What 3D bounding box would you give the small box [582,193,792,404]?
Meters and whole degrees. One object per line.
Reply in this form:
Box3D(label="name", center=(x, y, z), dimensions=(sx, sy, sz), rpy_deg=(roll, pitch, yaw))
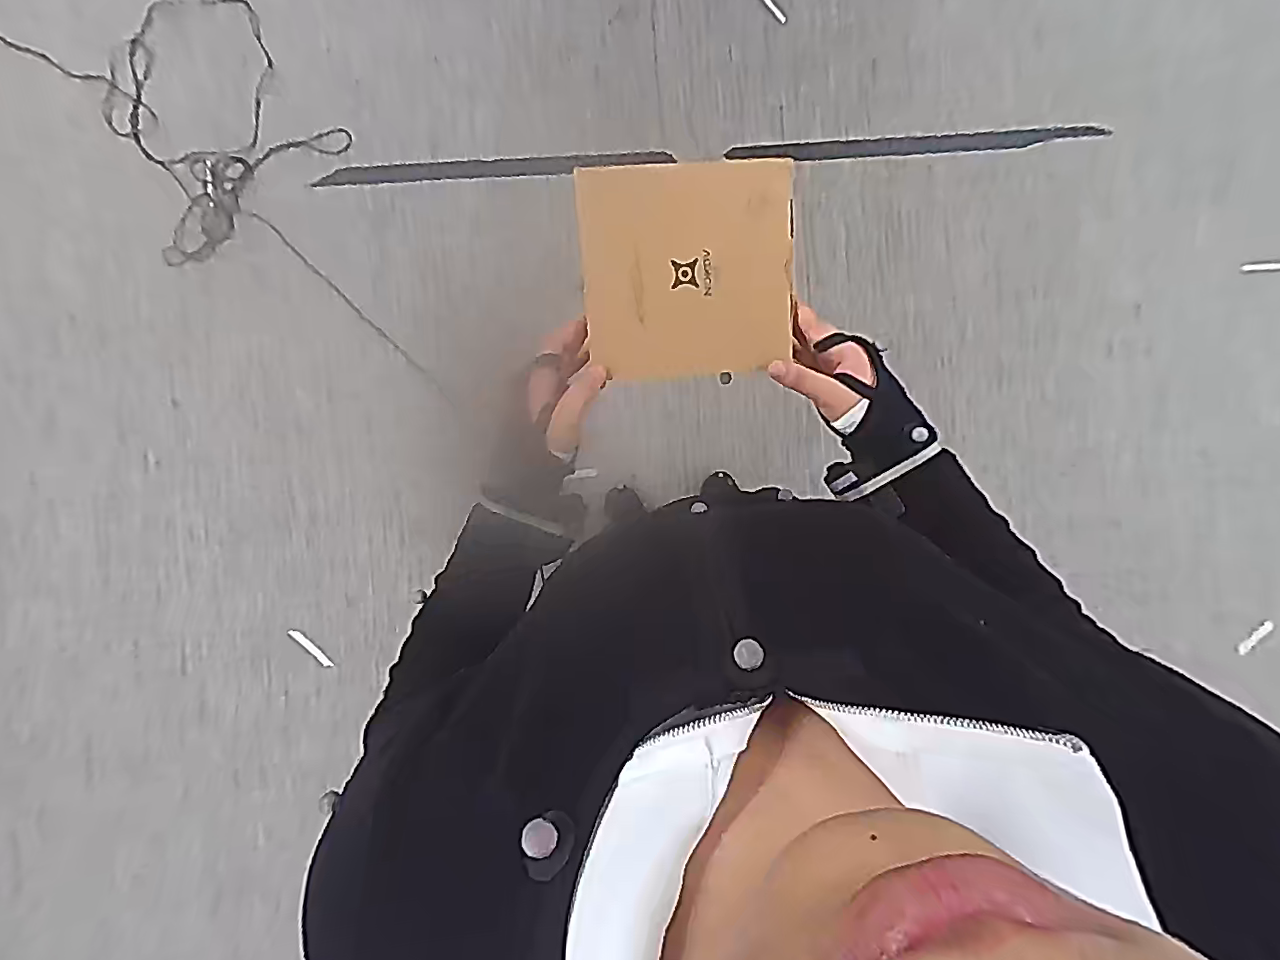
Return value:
Box3D(label="small box", center=(0.039, -0.171, 0.540), dimensions=(0.179, 0.176, 0.168), rpy_deg=(-5, 103, -1))
